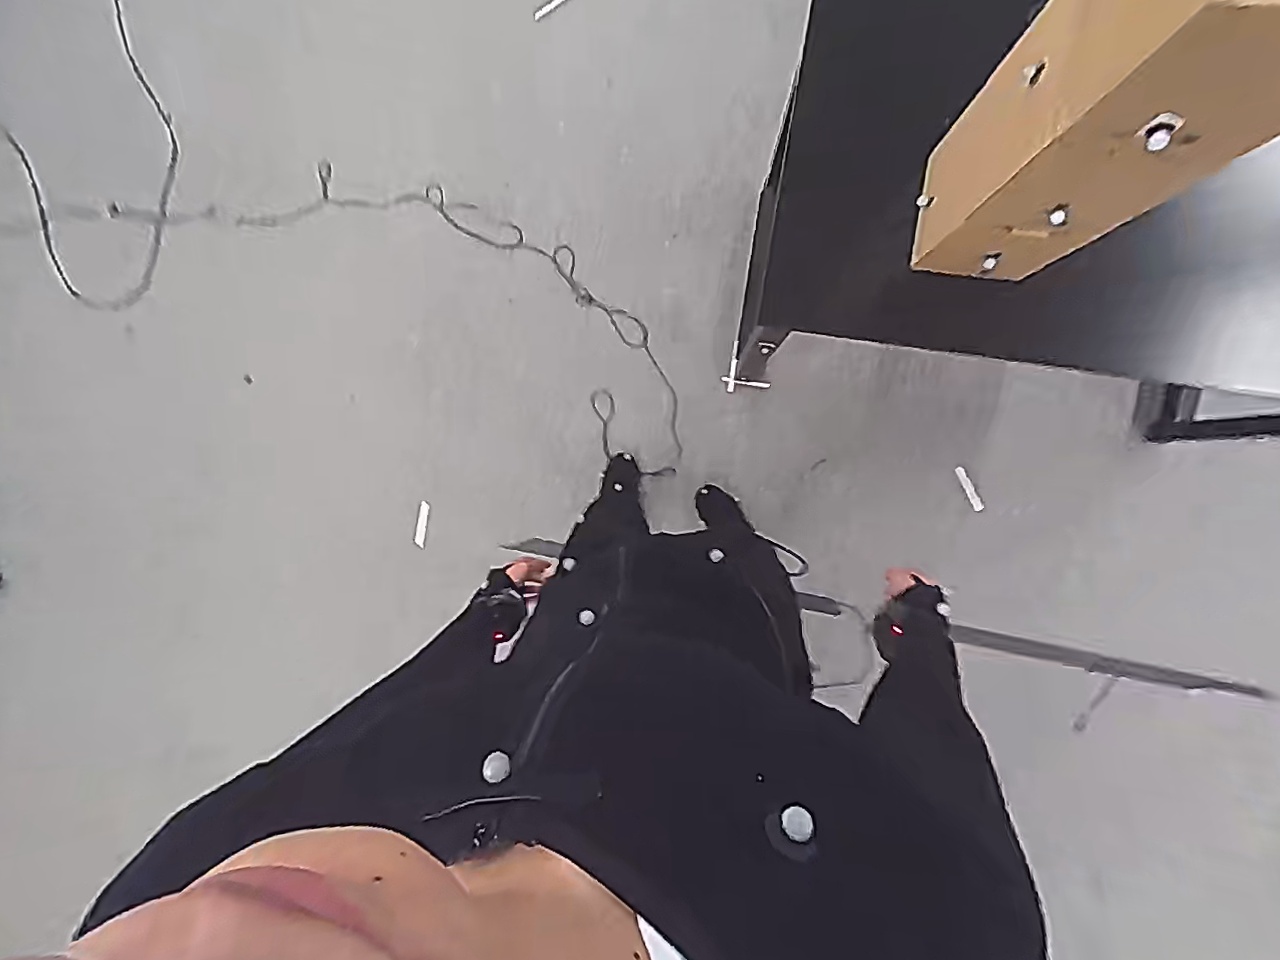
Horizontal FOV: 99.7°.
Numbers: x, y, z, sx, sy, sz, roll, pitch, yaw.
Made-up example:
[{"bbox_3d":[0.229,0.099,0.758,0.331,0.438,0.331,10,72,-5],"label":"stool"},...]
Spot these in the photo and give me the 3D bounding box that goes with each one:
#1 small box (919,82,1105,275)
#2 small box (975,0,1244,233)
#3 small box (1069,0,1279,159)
[{"bbox_3d":[0.506,-0.397,0.740,0.168,0.176,0.179,8,93,5],"label":"small box"},{"bbox_3d":[0.491,-0.392,0.576,0.168,0.176,0.179,8,93,6],"label":"small box"},{"bbox_3d":[0.477,-0.386,0.414,0.168,0.176,0.179,8,93,6],"label":"small box"}]
